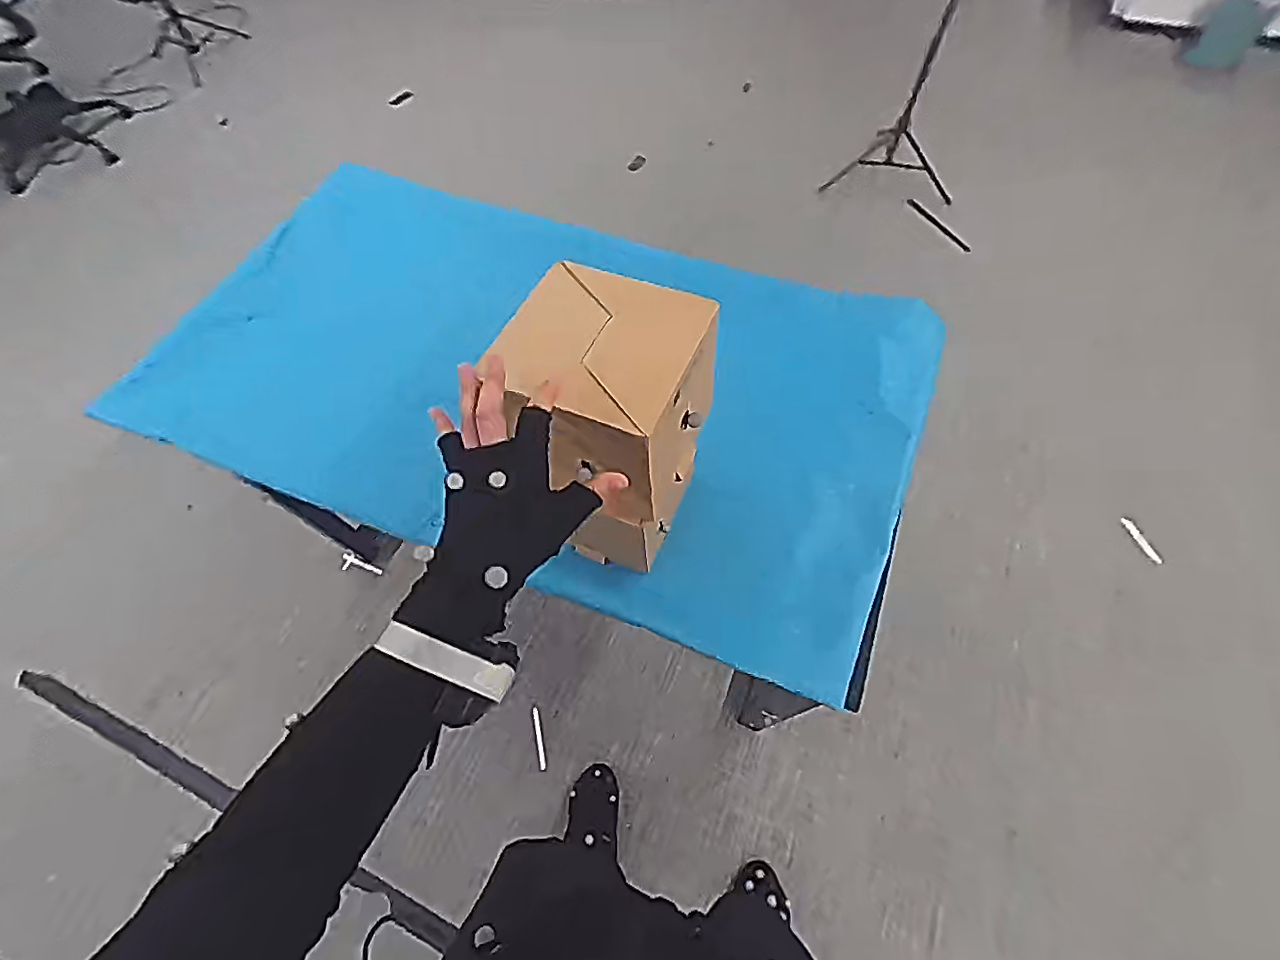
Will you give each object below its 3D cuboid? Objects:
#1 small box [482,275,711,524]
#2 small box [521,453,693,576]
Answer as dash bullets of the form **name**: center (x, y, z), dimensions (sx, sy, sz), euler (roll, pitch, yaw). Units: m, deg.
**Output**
- **small box**: center (-0.033, -0.083, 0.567), dimensions (0.179, 0.176, 0.168), euler (20, 63, 15)
- **small box**: center (-0.035, -0.003, 0.710), dimensions (0.168, 0.176, 0.179), euler (20, 64, 12)
